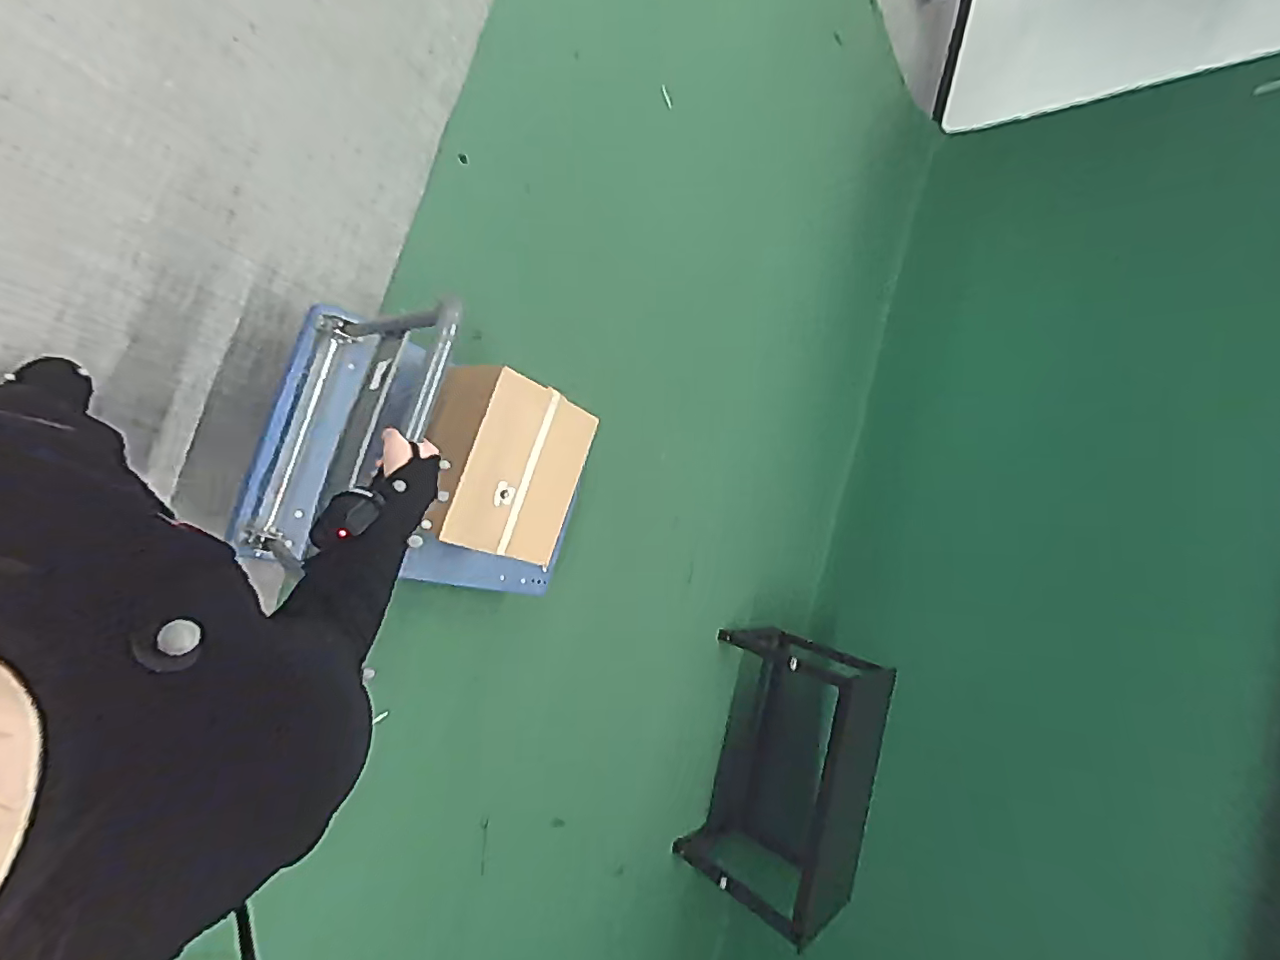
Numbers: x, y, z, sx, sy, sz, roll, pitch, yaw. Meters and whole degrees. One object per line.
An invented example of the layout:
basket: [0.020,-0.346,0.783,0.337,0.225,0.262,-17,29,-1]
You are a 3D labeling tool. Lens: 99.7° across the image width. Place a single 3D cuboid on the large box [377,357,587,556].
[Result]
large box: [-0.395,-0.064,1.369,0.320,0.320,0.408,26,80,-46]
